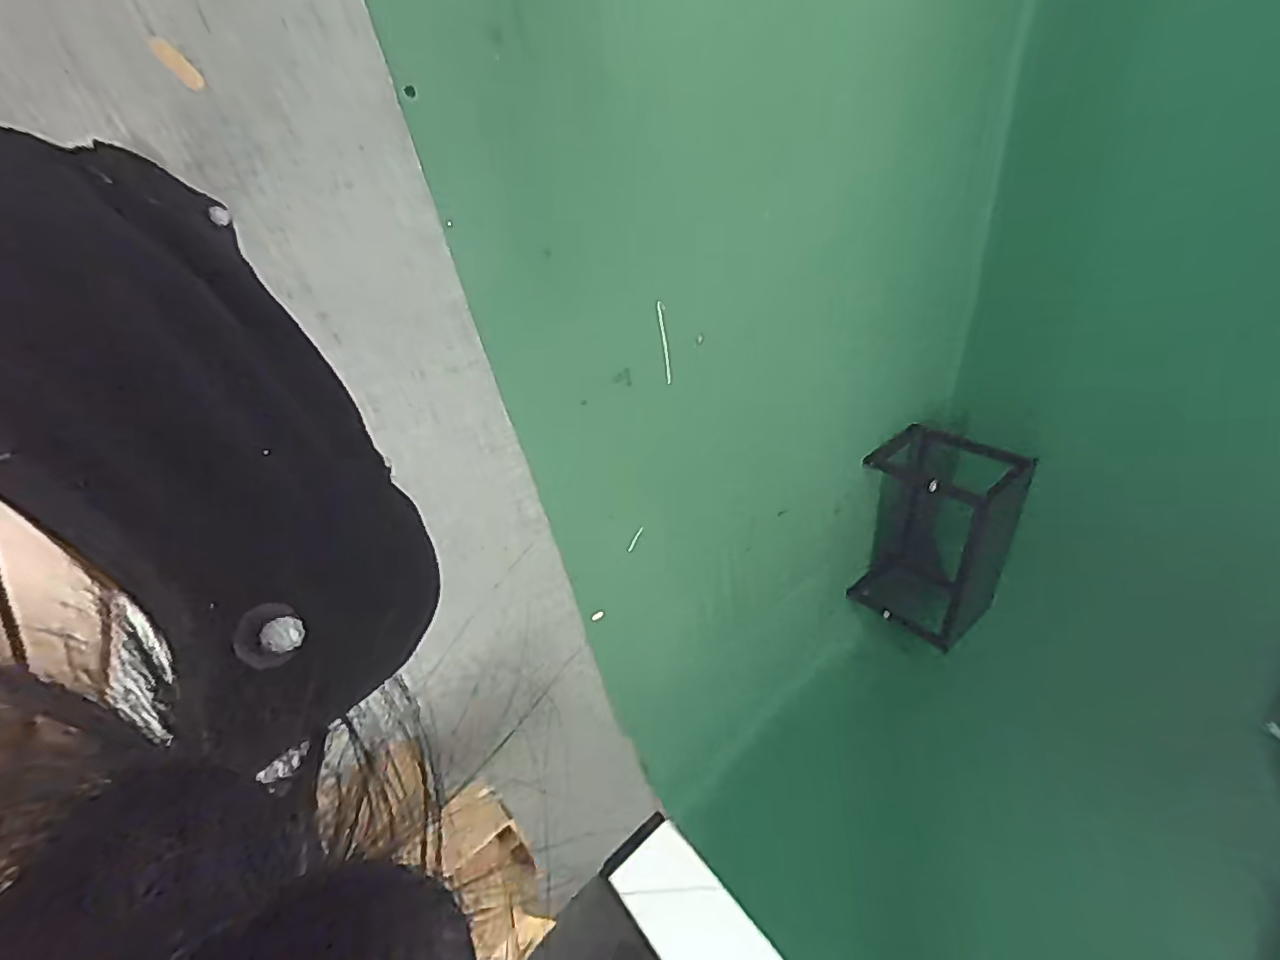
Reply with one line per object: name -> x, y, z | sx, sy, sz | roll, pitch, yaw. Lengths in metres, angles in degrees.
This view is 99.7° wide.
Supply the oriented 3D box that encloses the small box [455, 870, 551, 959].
small box -> -0.395, 1.272, 1.559 | 0.168, 0.176, 0.179 | -46, 134, -17
